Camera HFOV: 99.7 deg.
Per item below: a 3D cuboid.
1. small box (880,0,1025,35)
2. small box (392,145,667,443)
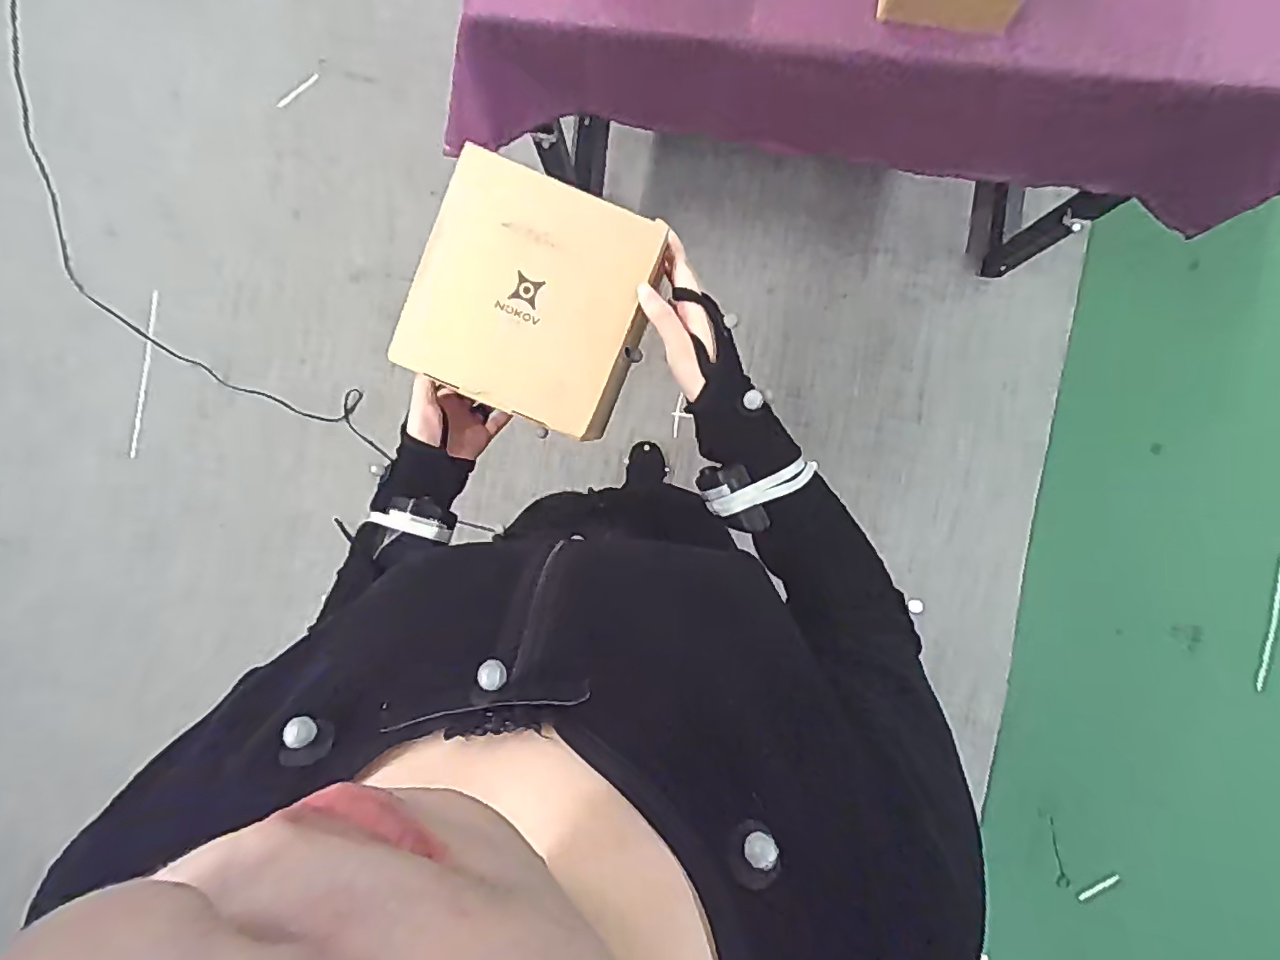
[{"bbox_3d":[0.419,-0.696,0.663,0.179,0.176,0.168,9,90,2],"label":"small box"},{"bbox_3d":[-0.083,-0.146,0.488,0.168,0.176,0.179,23,95,-2],"label":"small box"}]
